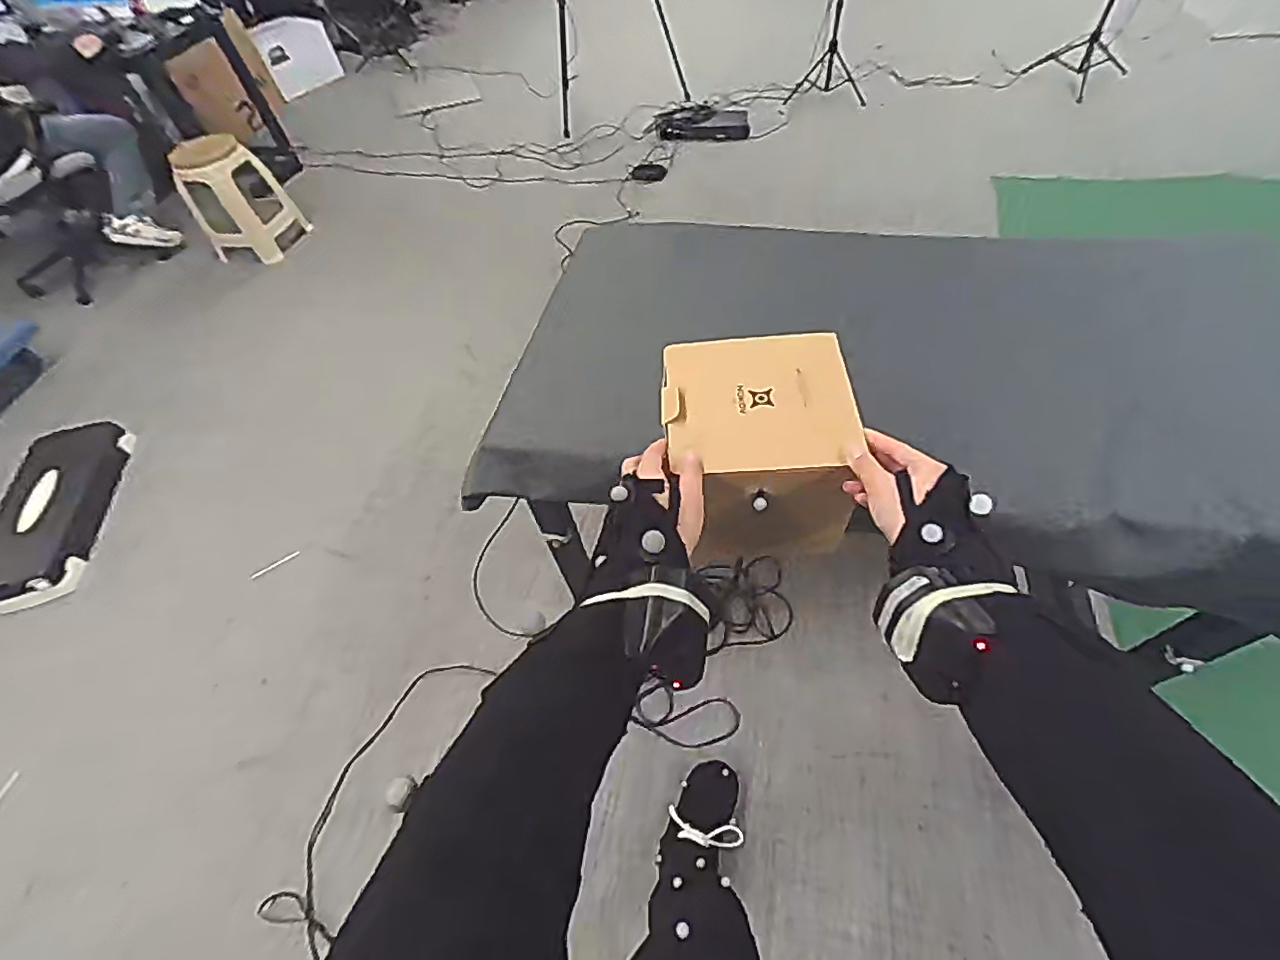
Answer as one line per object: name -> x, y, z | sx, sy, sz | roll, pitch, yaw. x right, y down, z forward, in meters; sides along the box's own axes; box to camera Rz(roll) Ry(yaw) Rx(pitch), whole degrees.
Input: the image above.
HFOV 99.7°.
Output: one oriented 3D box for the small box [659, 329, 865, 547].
small box -> 0.114, -0.037, 0.574 | 0.179, 0.176, 0.168 | -3, 57, 4
